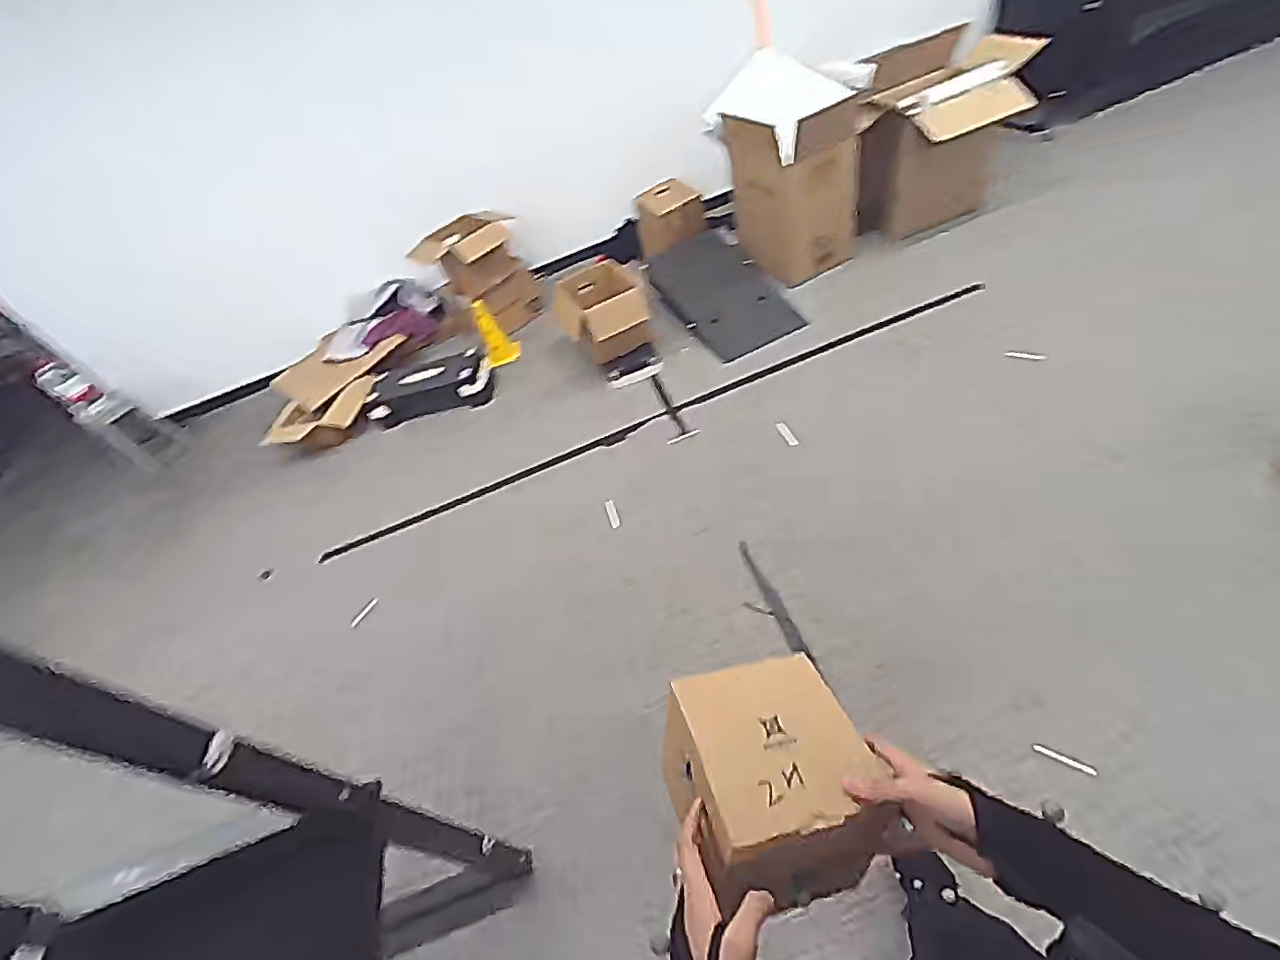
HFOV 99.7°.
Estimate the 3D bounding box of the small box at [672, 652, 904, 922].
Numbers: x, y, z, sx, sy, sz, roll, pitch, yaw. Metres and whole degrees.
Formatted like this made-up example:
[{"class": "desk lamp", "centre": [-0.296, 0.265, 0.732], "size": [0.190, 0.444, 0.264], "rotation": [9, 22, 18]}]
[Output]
[{"class": "small box", "centre": [0.136, 0.316, 0.576], "size": [0.168, 0.176, 0.179], "rotation": [-5, 31, -12]}]
